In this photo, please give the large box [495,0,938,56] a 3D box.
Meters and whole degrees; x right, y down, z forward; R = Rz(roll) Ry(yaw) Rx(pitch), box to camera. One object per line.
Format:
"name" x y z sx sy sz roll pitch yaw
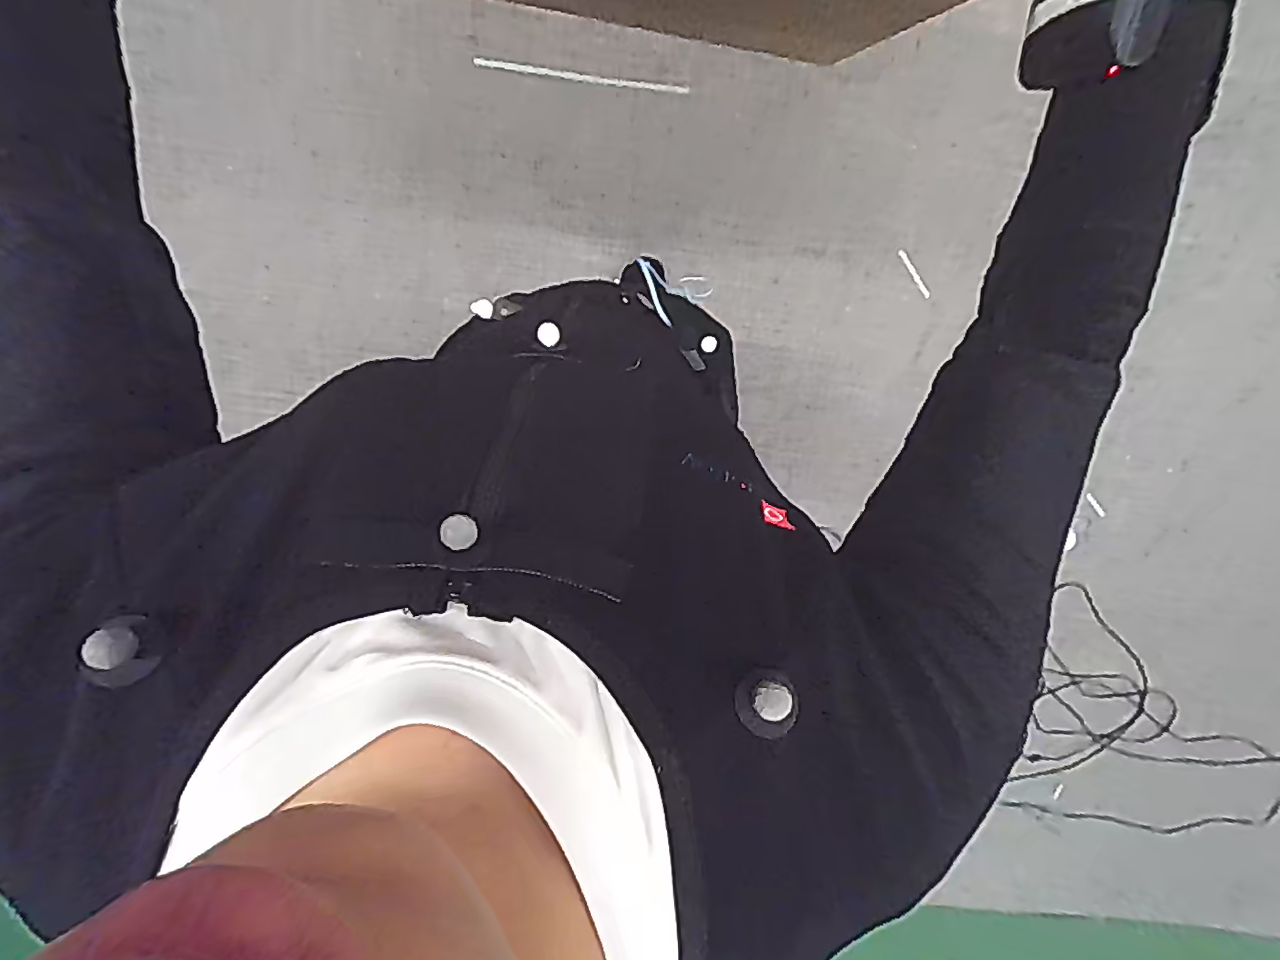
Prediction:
"large box" 0.020 -0.487 0.307 0.408 0.320 0.320 6 121 -6
